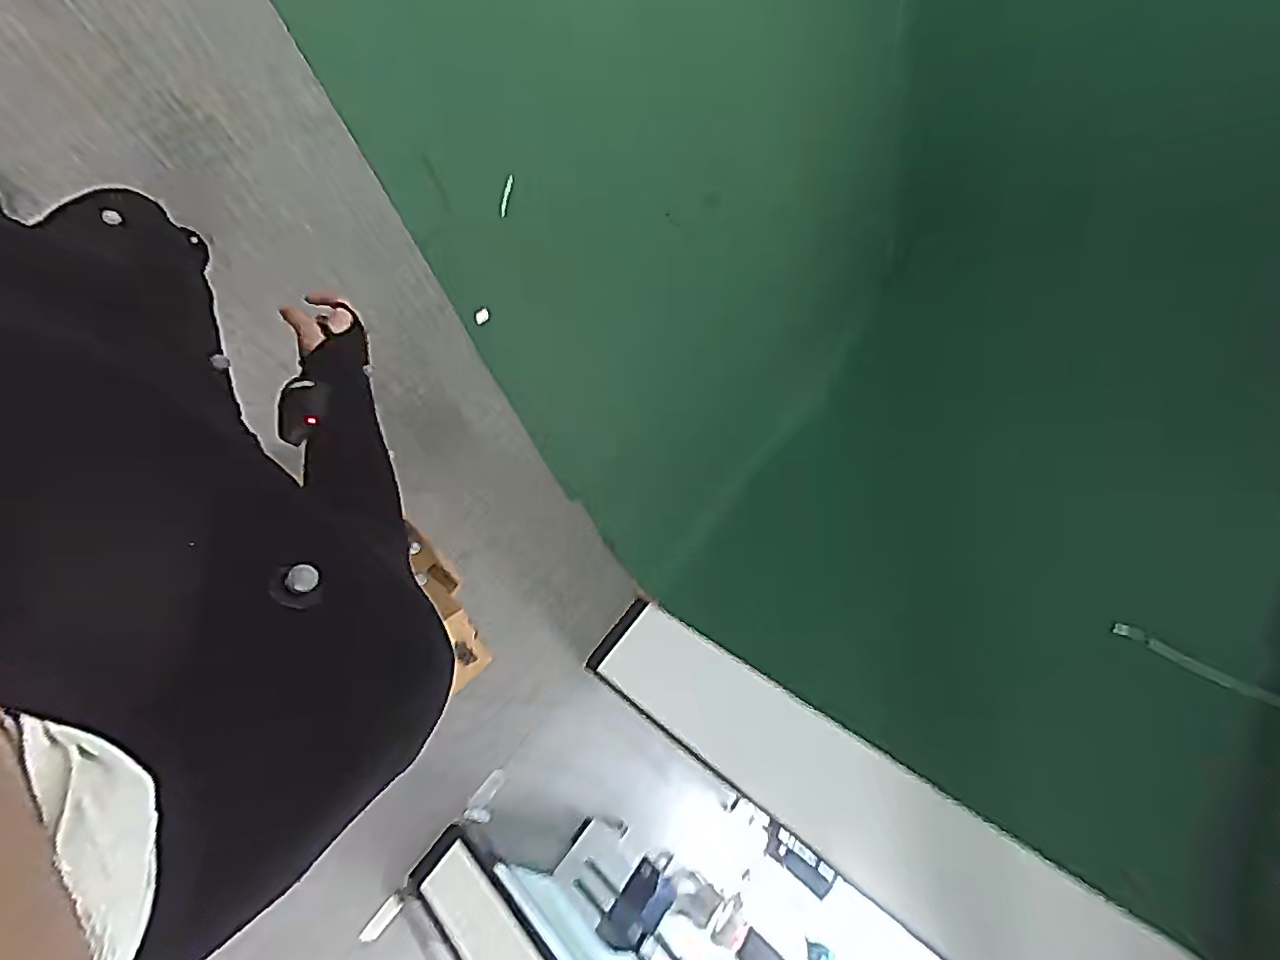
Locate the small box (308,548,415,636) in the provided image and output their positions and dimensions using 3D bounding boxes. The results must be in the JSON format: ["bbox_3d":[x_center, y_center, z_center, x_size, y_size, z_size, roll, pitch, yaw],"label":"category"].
[{"bbox_3d":[-0.540,0.262,1.112,0.168,0.176,0.179,-41,137,-27],"label":"small box"}]

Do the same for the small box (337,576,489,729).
[{"bbox_3d":[-0.421,0.313,1.010,0.179,0.176,0.168,-39,135,-29],"label":"small box"}]
